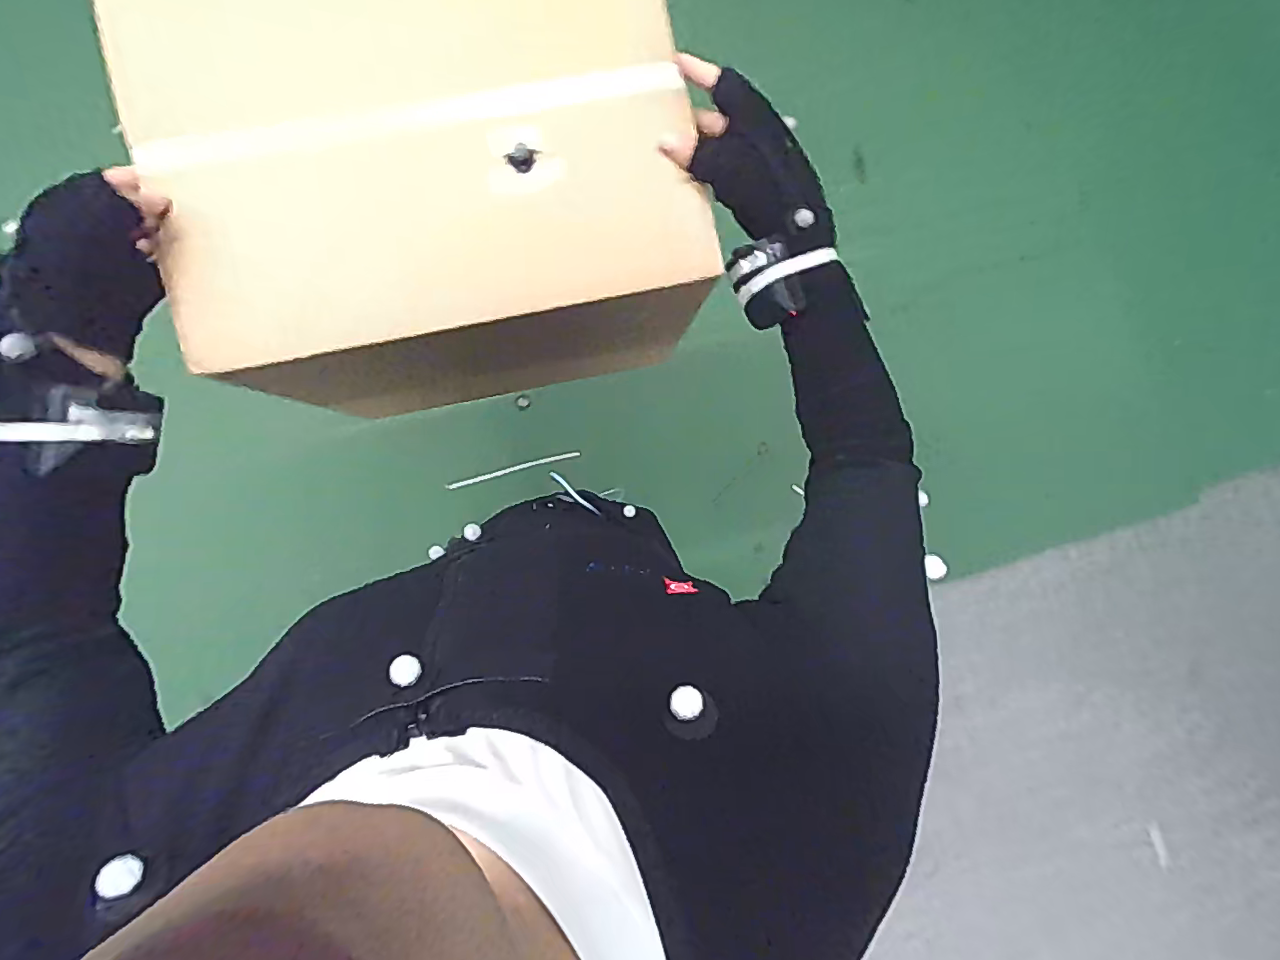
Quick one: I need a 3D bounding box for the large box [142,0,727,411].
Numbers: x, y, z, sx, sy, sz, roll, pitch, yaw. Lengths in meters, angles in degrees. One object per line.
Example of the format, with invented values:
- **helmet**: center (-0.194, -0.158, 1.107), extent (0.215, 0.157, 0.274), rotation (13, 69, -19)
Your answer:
- **large box**: center (-0.166, -0.280, 0.568), extent (0.408, 0.320, 0.320), rotation (-12, 92, -5)
